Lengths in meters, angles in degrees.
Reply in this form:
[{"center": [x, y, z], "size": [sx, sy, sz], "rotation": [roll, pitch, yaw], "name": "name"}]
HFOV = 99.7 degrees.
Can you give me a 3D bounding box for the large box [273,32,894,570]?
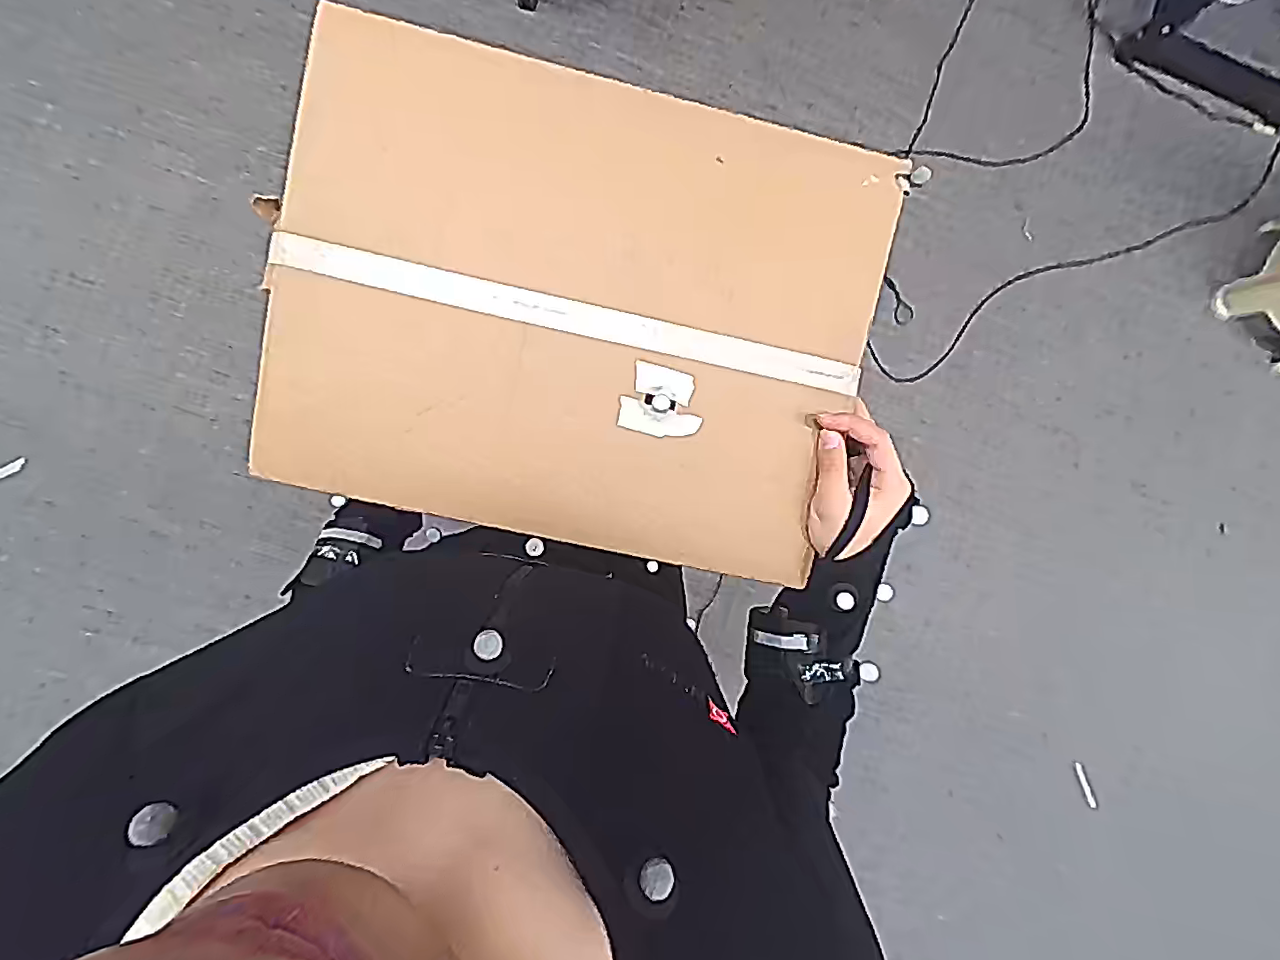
[{"center": [-0.050, -0.128, 0.531], "size": [0.408, 0.320, 0.320], "rotation": [11, 96, -6], "name": "large box"}]
